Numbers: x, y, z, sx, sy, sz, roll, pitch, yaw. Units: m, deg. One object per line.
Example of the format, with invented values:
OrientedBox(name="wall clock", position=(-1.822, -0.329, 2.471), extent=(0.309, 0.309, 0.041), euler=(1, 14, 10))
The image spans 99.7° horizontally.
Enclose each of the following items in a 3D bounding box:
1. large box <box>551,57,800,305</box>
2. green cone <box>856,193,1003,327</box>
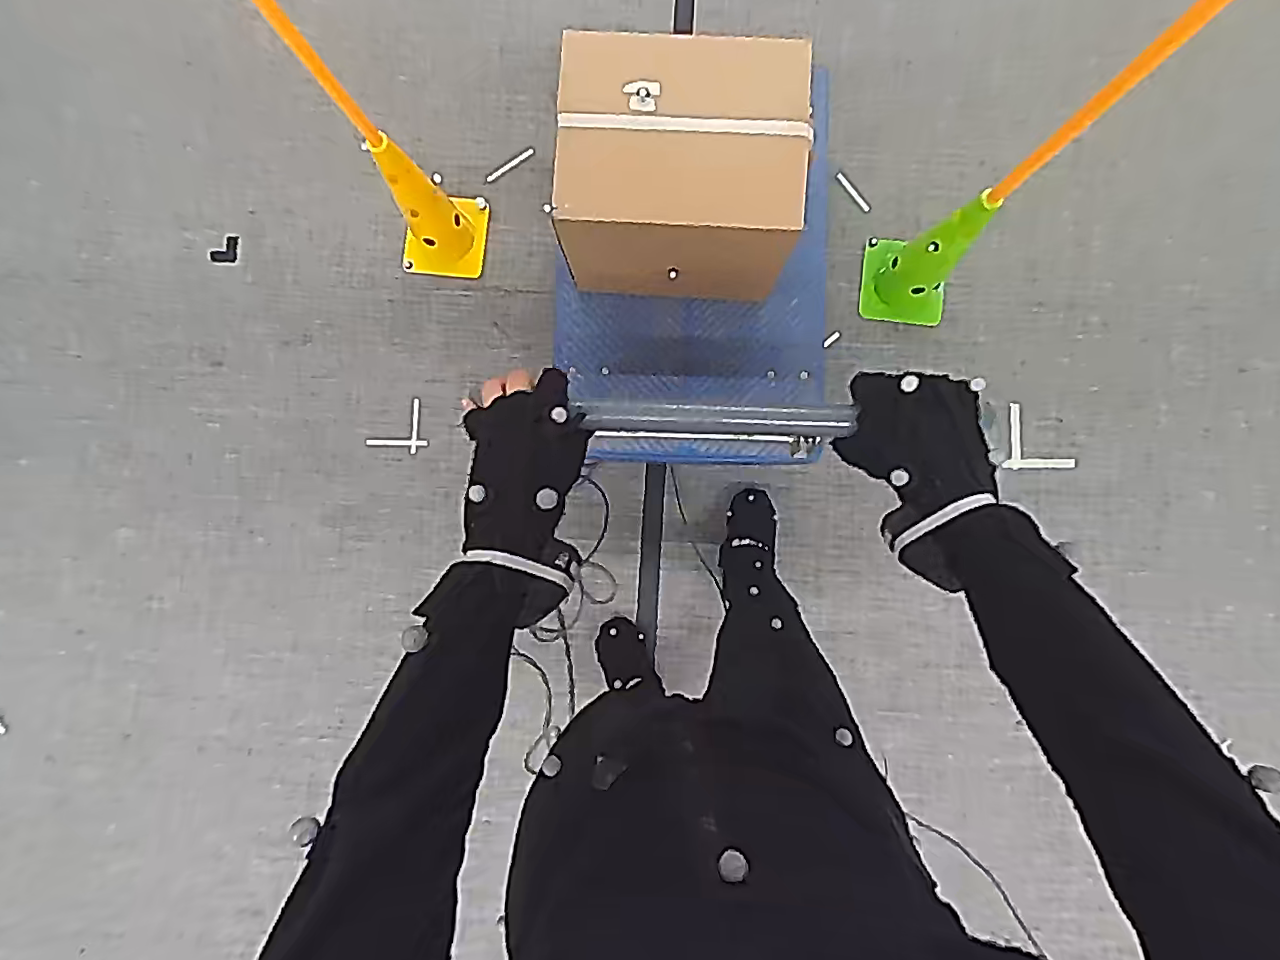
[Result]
OrientedBox(name="large box", position=(0.066, -0.538, 1.032), extent=(0.408, 0.320, 0.320), euler=(3, 88, 2))
OrientedBox(name="green cone", position=(0.634, -0.490, 1.157), extent=(0.202, 0.368, 0.200), euler=(6, 87, 1))
